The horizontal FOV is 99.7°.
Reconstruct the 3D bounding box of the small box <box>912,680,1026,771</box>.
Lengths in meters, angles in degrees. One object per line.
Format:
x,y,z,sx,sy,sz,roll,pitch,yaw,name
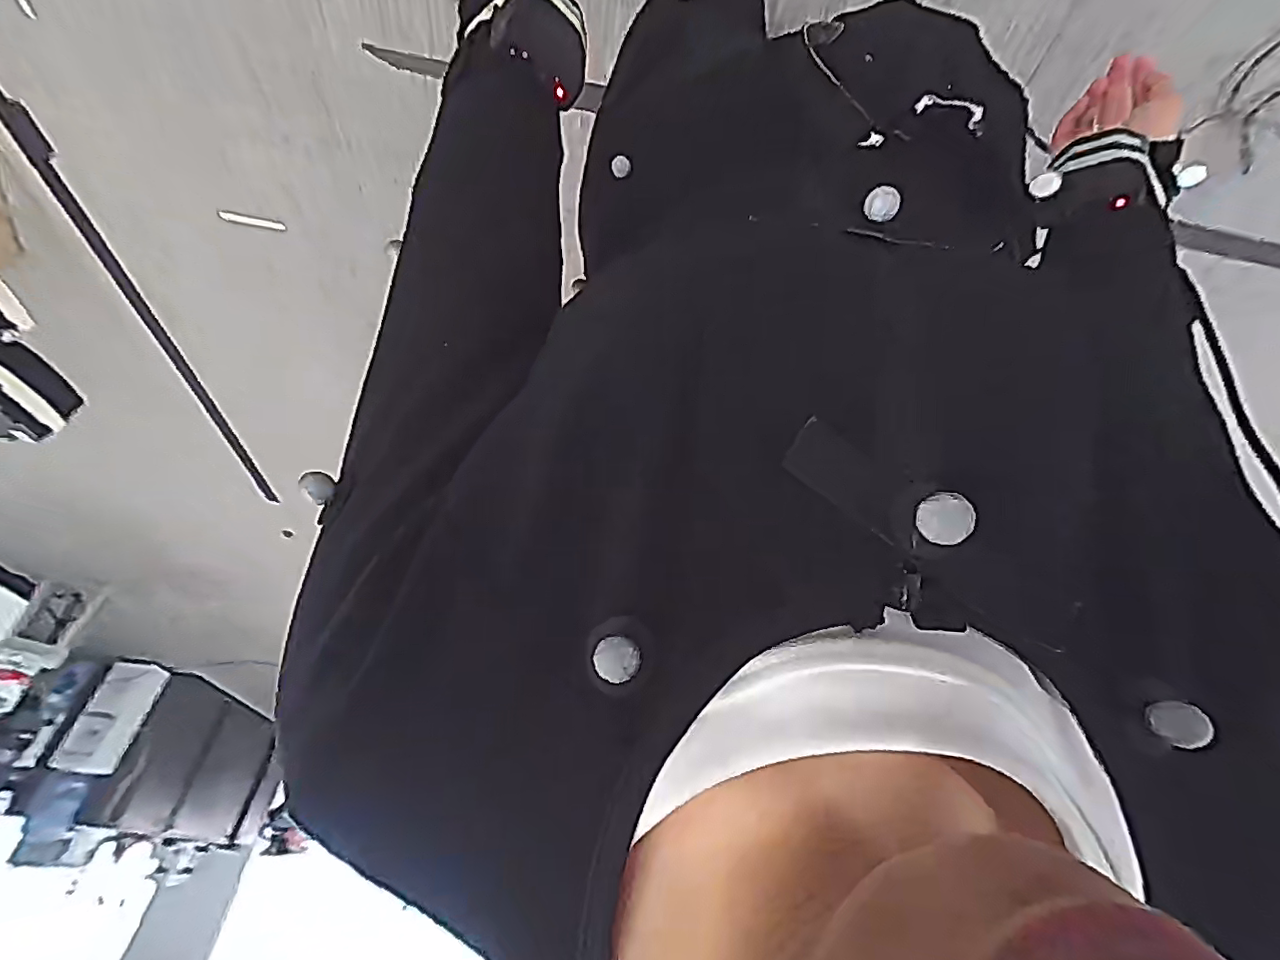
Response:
0.828,0.627,1.386,0.179,0.176,0.168,9,143,-1,small box
